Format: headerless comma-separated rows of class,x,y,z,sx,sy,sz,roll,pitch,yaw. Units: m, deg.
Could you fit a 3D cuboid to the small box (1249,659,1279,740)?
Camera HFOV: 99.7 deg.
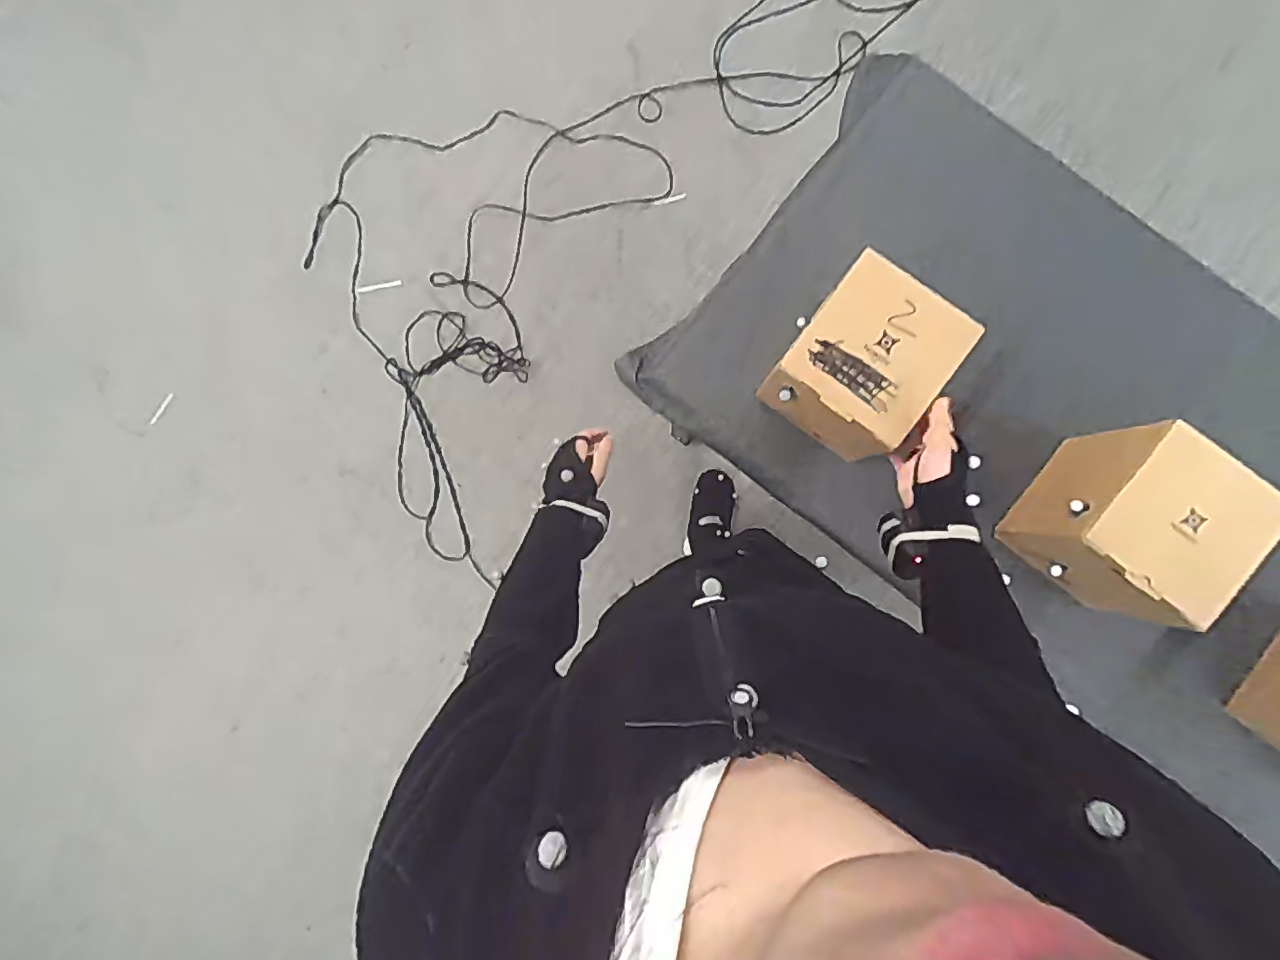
small box,0.910,0.282,0.637,0.168,0.176,0.179,37,90,6

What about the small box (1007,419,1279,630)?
small box,0.614,0.050,0.672,0.168,0.176,0.179,38,91,4
